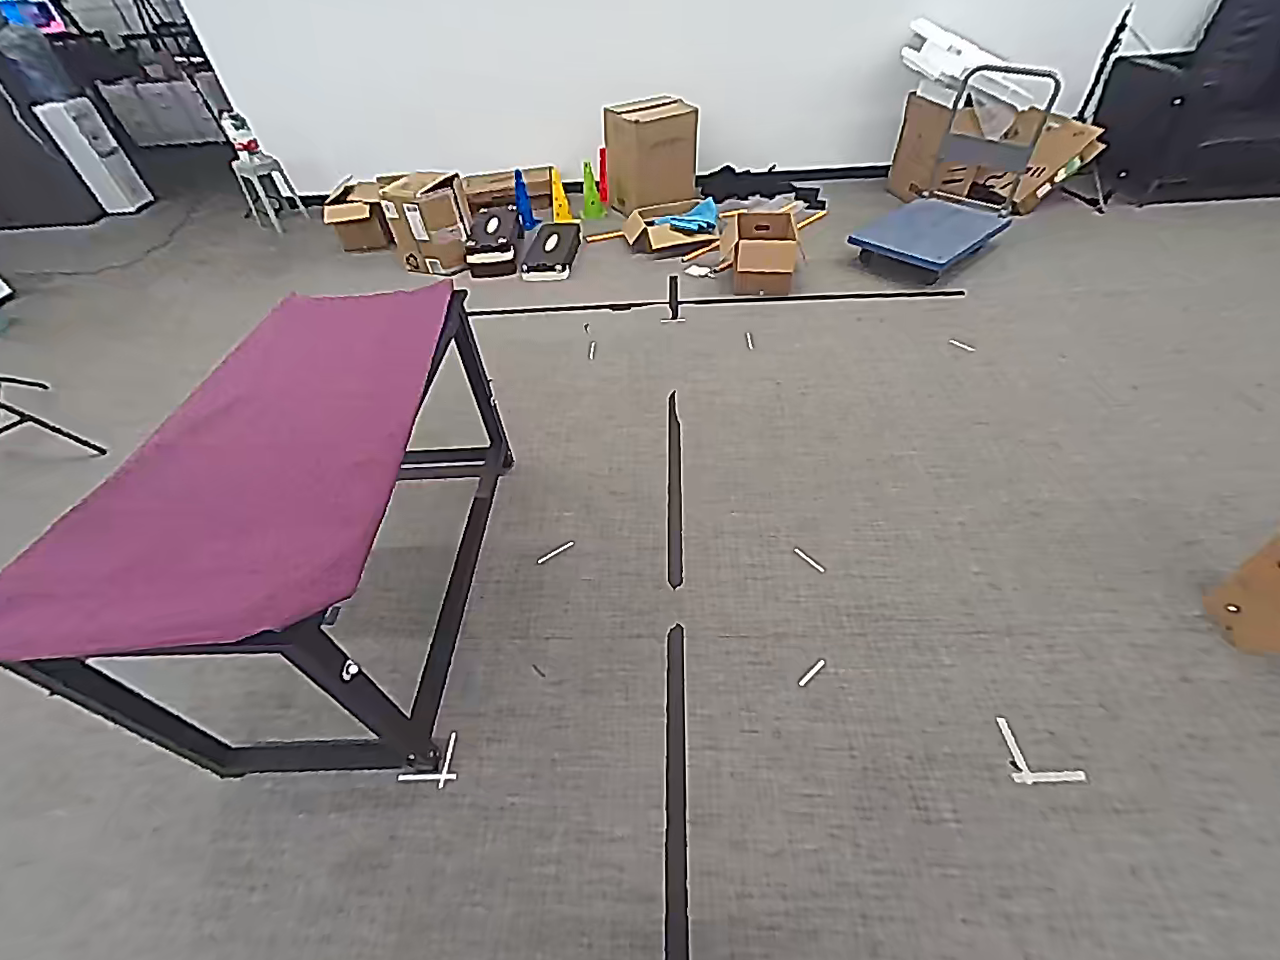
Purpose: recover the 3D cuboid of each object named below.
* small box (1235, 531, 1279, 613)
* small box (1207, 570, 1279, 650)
[{"bbox_3d":[1.739,0.243,1.396,0.168,0.176,0.179,-6,44,-1],"label":"small box"},{"bbox_3d":[1.758,0.361,1.507,0.179,0.176,0.168,1,46,5],"label":"small box"}]
